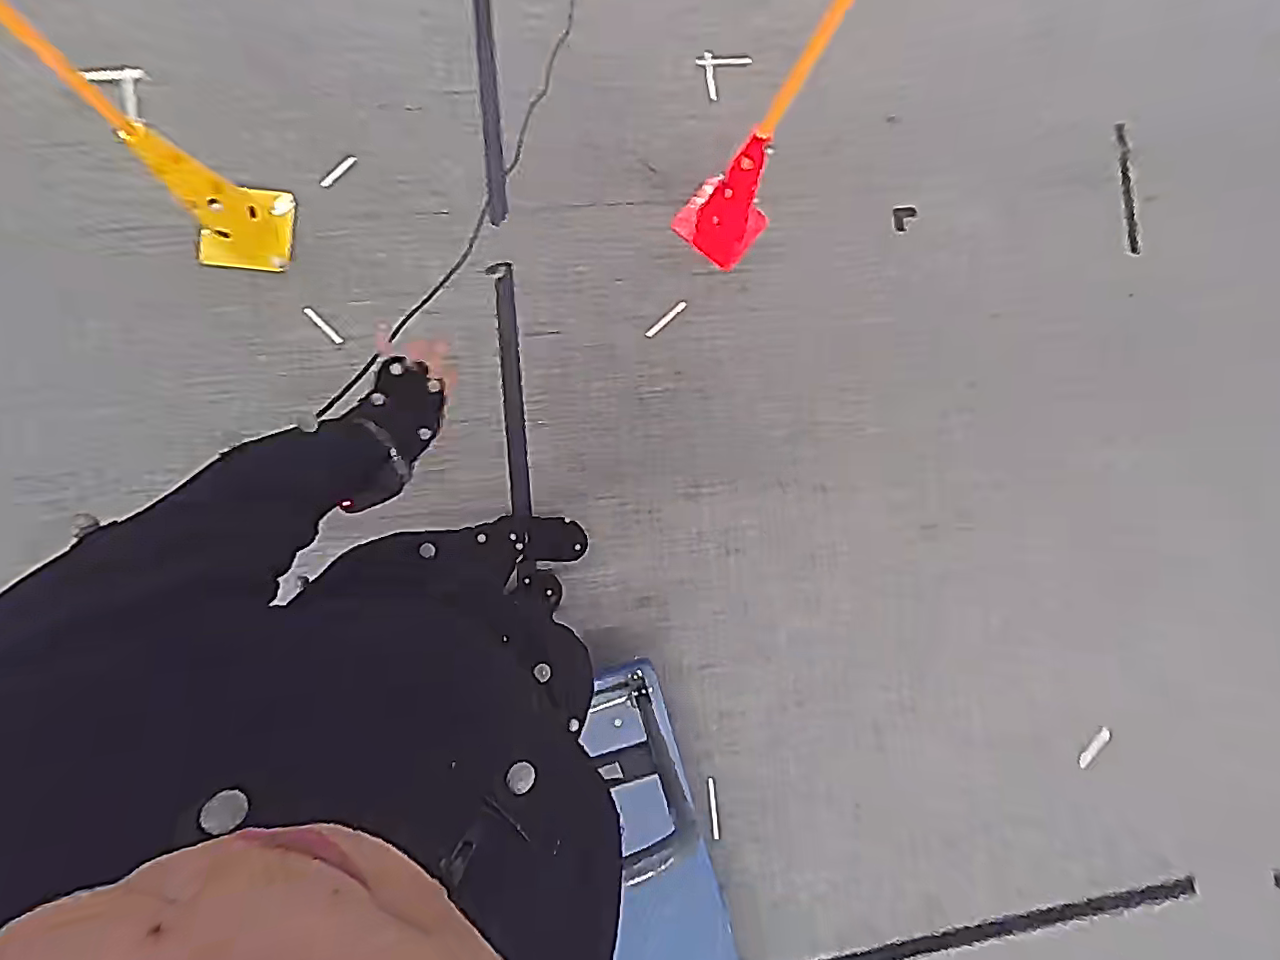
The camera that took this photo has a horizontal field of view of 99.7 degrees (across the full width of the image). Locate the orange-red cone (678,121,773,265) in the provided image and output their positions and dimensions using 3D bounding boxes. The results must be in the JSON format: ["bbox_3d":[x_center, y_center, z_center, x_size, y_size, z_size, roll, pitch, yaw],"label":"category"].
[{"bbox_3d":[0.242,-0.707,1.282,0.198,0.360,0.199,40,85,-2],"label":"orange-red cone"}]
